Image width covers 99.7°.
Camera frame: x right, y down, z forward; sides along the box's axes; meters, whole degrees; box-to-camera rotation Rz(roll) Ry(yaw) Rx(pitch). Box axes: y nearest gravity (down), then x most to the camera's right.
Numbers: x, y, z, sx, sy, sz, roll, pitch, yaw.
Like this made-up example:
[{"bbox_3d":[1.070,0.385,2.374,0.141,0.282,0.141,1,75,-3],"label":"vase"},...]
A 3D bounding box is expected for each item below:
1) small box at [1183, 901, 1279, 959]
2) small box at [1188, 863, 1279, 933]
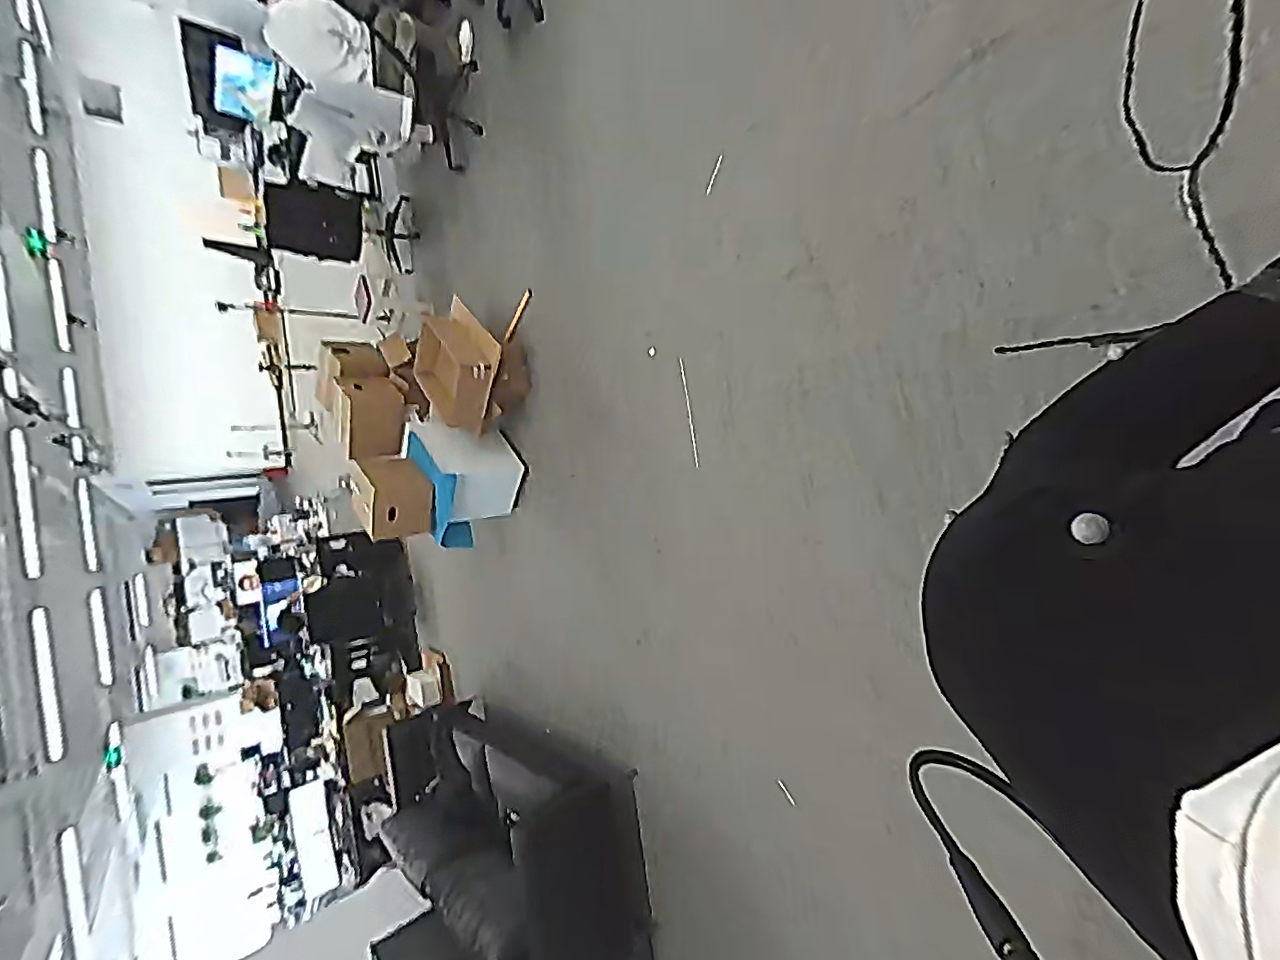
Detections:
[{"bbox_3d":[1.128,0.941,0.997,0.168,0.176,0.179,-5,91,50],"label":"small box"},{"bbox_3d":[1.255,0.931,1.101,0.179,0.176,0.168,-7,89,50],"label":"small box"}]
